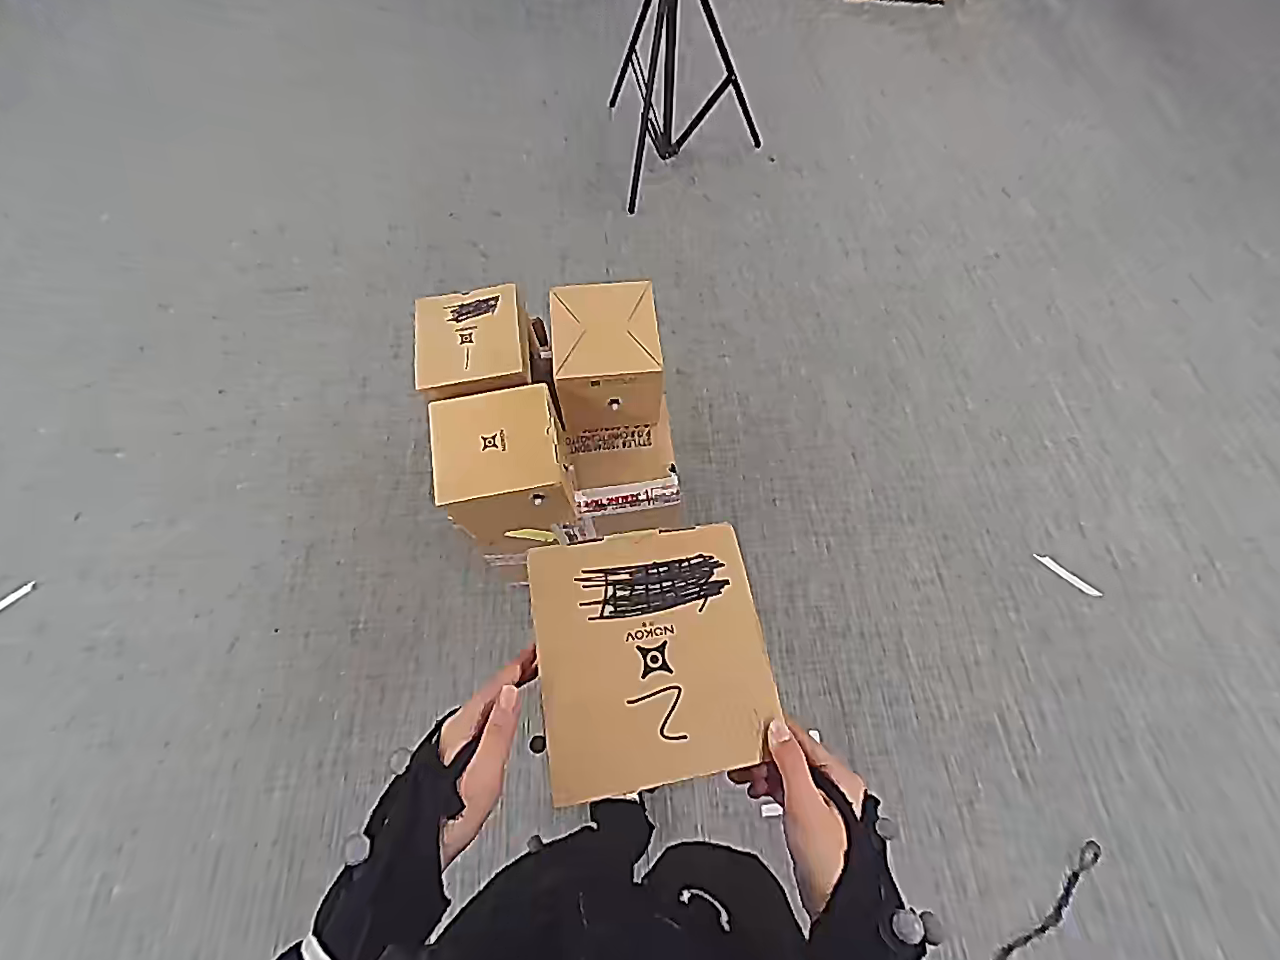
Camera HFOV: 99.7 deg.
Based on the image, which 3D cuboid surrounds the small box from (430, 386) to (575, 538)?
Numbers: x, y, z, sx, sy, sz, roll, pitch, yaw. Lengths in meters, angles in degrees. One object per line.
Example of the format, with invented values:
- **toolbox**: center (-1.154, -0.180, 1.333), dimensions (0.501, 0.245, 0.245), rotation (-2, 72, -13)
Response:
- **small box**: center (-0.207, -0.019, 0.841), dimensions (0.179, 0.176, 0.168), rotation (-11, 68, -4)

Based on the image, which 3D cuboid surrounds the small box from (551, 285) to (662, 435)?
- **small box**: center (-0.057, -0.197, 0.910), dimensions (0.168, 0.176, 0.179), rotation (-5, 67, -5)
